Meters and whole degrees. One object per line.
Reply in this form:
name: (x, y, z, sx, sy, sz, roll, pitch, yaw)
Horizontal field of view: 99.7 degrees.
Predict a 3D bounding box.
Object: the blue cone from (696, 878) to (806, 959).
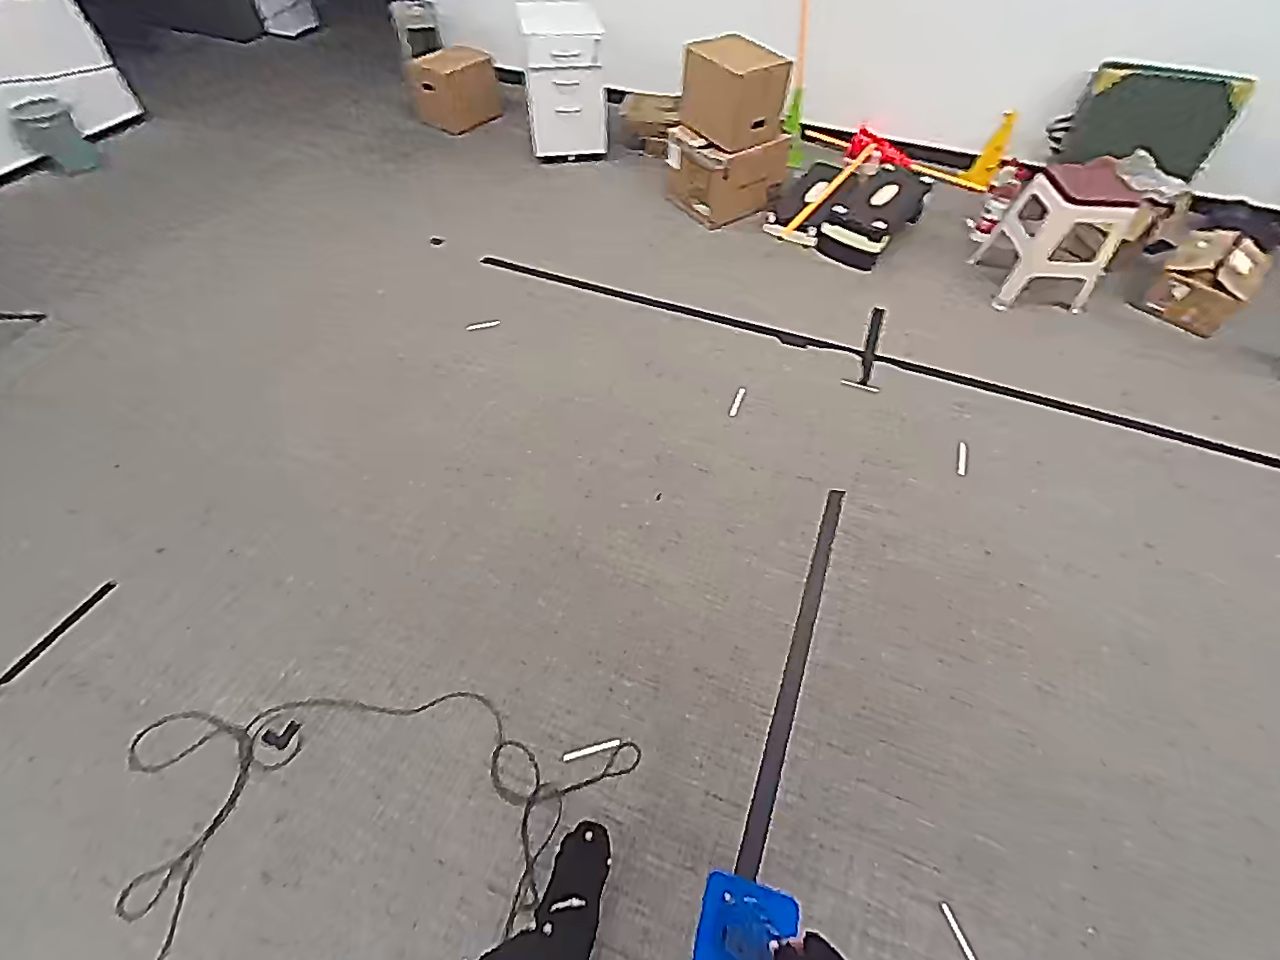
blue cone: (0.225, 0.849, 0.970, 0.192, 0.380, 0.193, 17, 55, 8)
